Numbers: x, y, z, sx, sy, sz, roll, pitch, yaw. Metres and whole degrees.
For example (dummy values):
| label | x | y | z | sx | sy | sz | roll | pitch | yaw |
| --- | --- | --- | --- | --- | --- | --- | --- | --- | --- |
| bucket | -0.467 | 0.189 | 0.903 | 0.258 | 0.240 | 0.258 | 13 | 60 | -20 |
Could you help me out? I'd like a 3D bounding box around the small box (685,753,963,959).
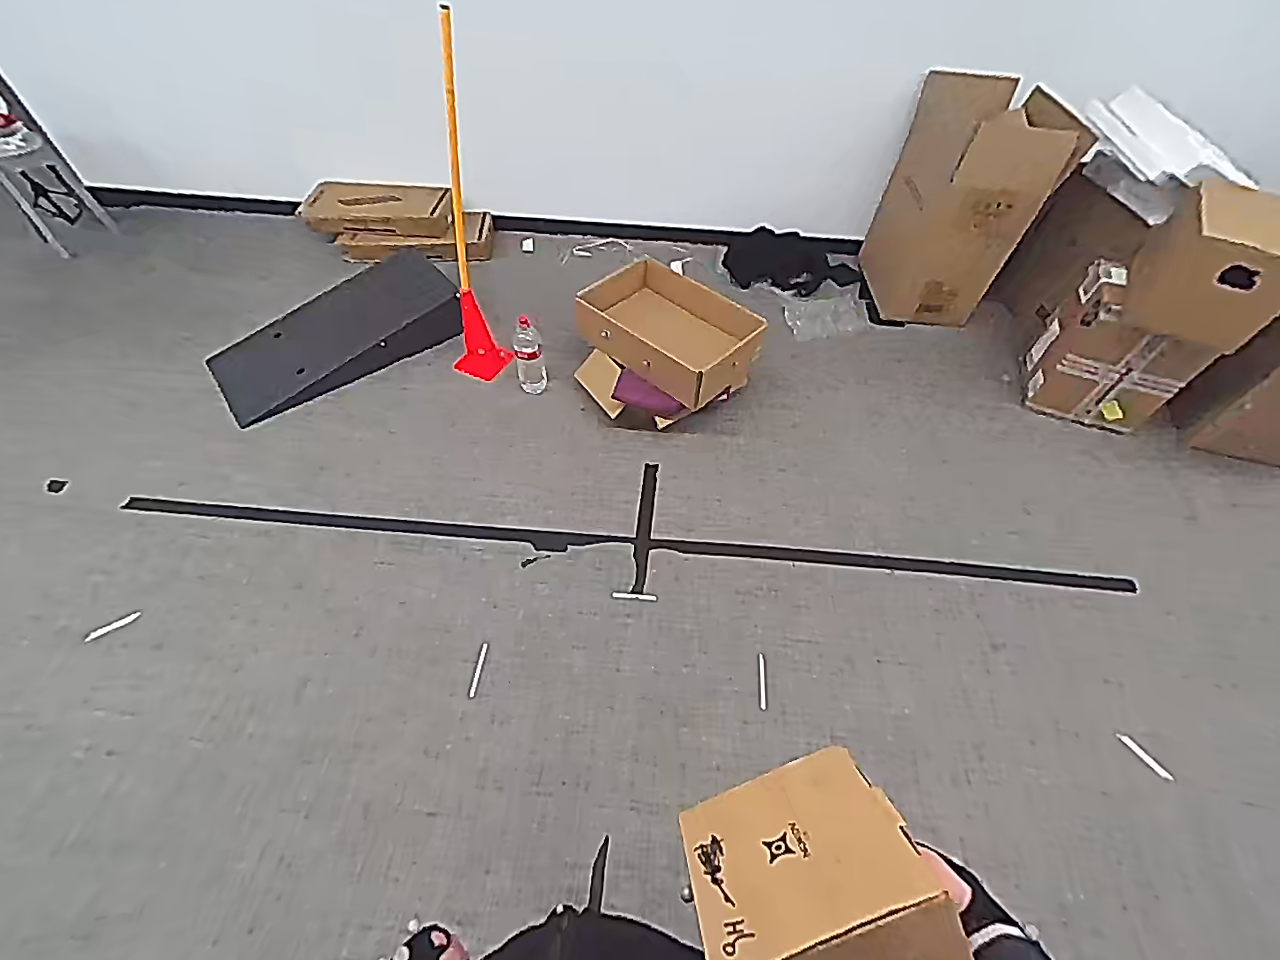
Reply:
| label | x | y | z | sx | sy | sz | roll | pitch | yaw |
| --- | --- | --- | --- | --- | --- | --- | --- | --- | --- |
| small box | 0.158 | 0.387 | 0.468 | 0.179 | 0.168 | 0.176 | -22 | 97 | -2 |
